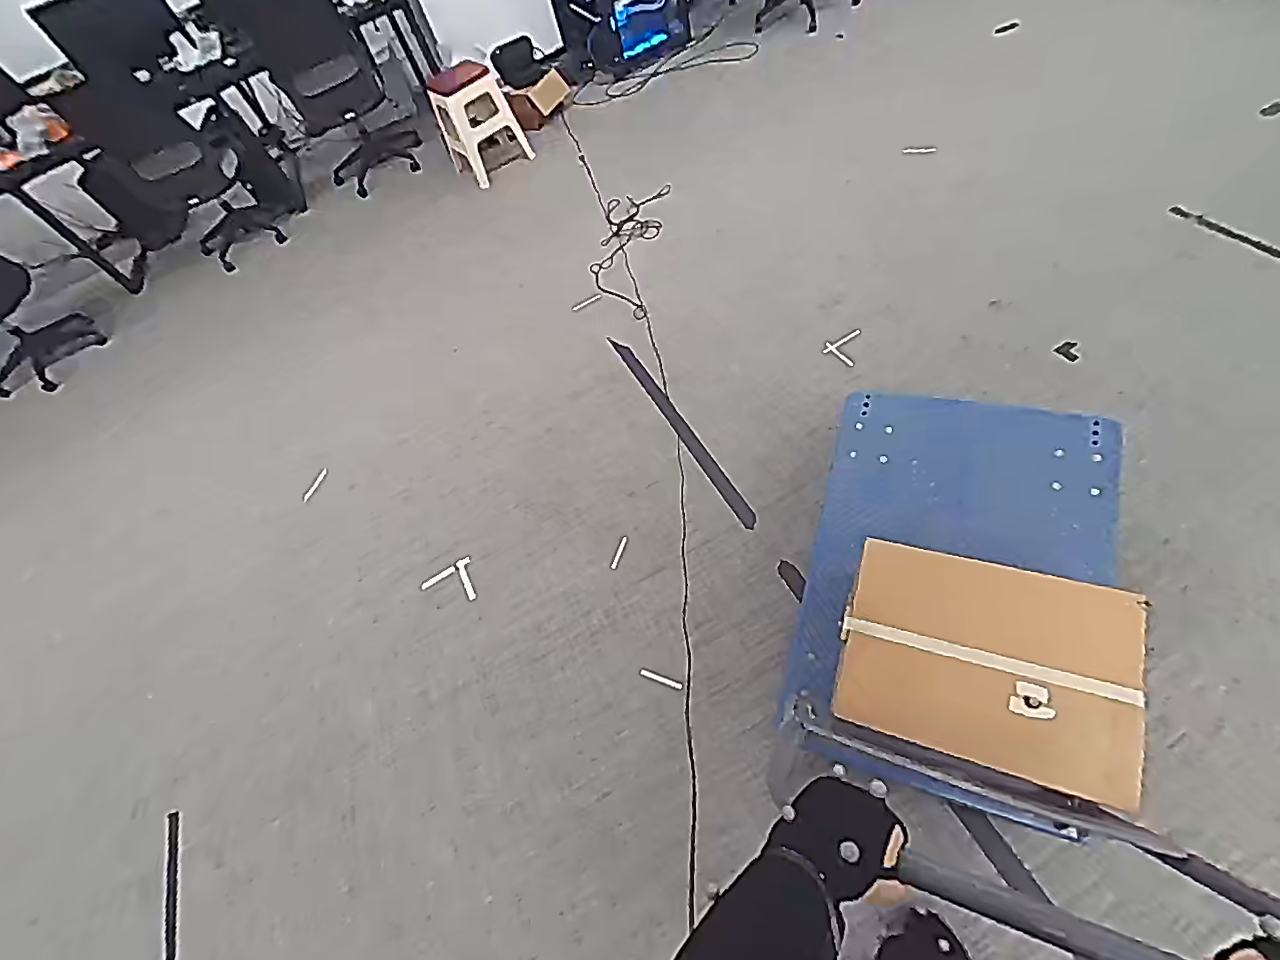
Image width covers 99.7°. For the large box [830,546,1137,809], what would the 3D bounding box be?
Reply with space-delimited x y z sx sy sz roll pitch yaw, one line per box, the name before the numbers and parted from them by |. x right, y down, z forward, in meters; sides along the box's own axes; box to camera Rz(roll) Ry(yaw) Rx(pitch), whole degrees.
large box | 0.588 0.345 1.000 0.408 0.320 0.320 11 73 21
